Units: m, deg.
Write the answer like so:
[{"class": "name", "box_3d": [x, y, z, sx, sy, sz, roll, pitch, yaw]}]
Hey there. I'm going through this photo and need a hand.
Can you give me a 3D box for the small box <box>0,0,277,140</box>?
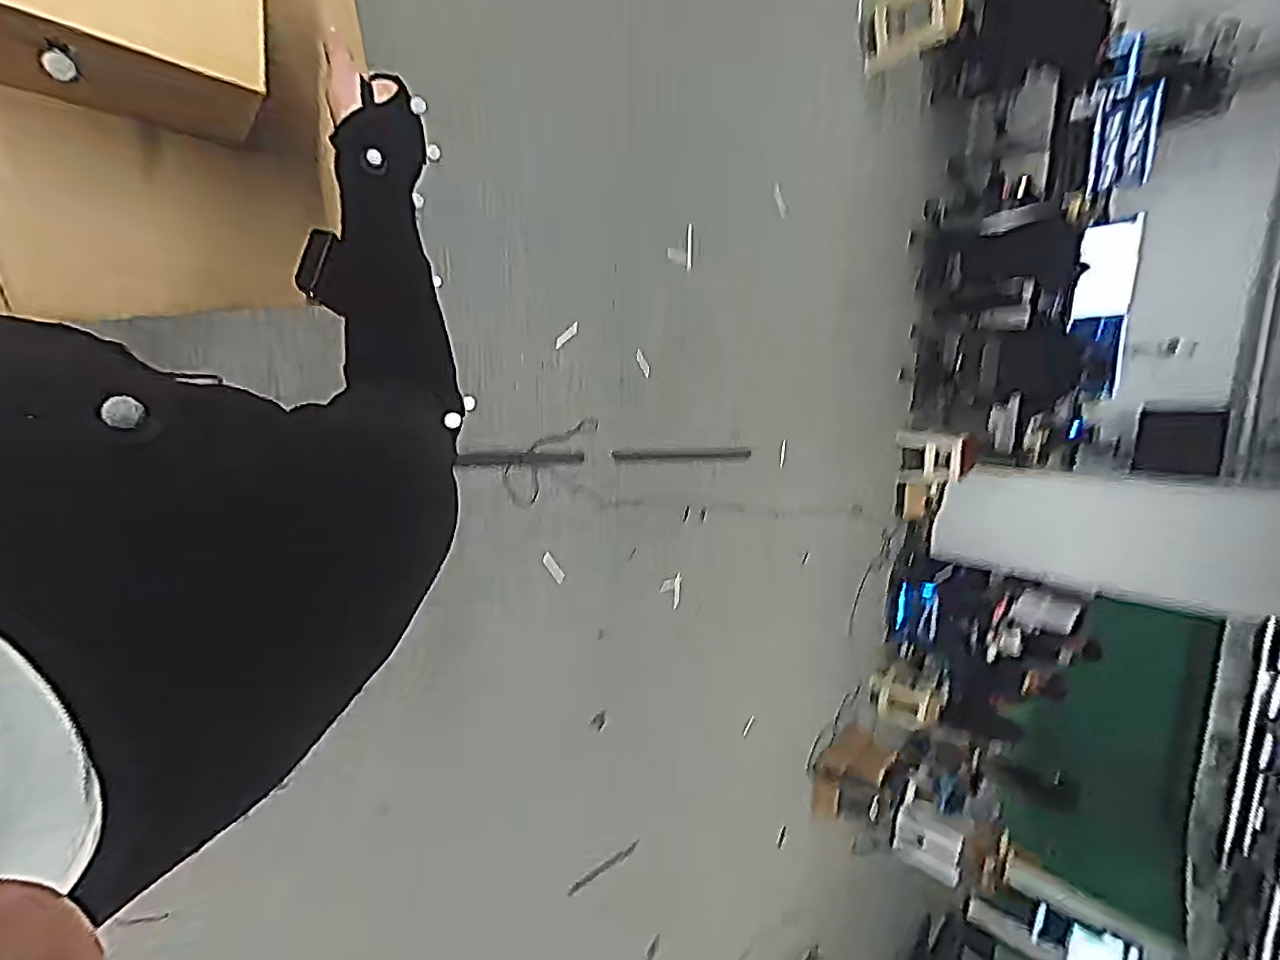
[{"class": "small box", "box_3d": [-0.348, -0.344, 0.346, 0.179, 0.176, 0.168, -3, 106, -39]}]
